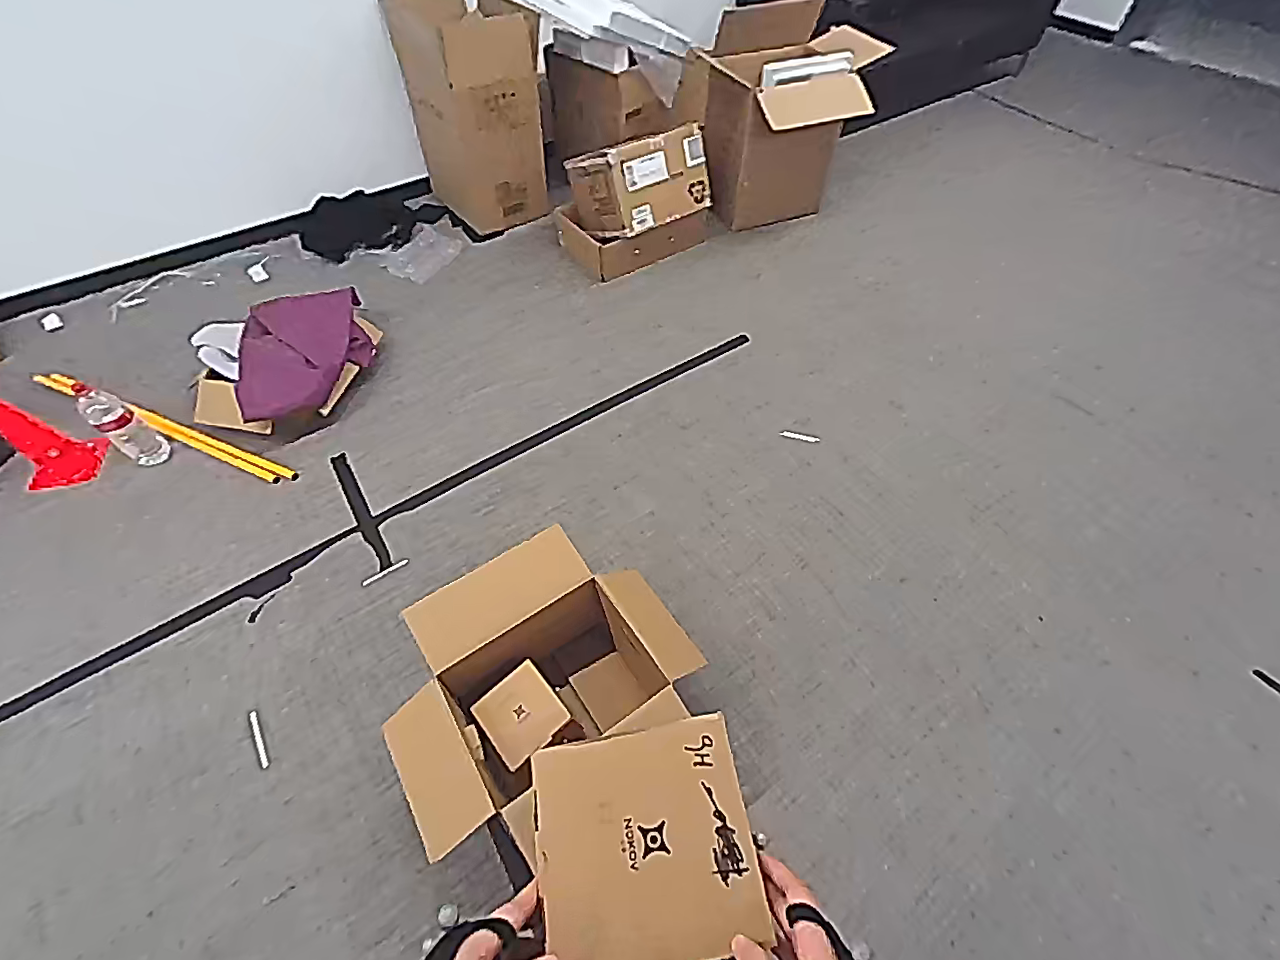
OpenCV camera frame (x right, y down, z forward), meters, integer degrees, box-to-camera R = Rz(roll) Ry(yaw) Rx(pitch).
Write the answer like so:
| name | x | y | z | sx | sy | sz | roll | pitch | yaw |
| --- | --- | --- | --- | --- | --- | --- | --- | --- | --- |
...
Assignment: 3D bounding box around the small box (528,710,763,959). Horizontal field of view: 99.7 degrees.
| name | x | y | z | sx | sy | sz | roll | pitch | yaw |
| --- | --- | --- | --- | --- | --- | --- | --- | --- | --- |
| small box | 0.005 | 0.333 | 0.515 | 0.179 | 0.176 | 0.168 | -12 | 60 | 0 |
